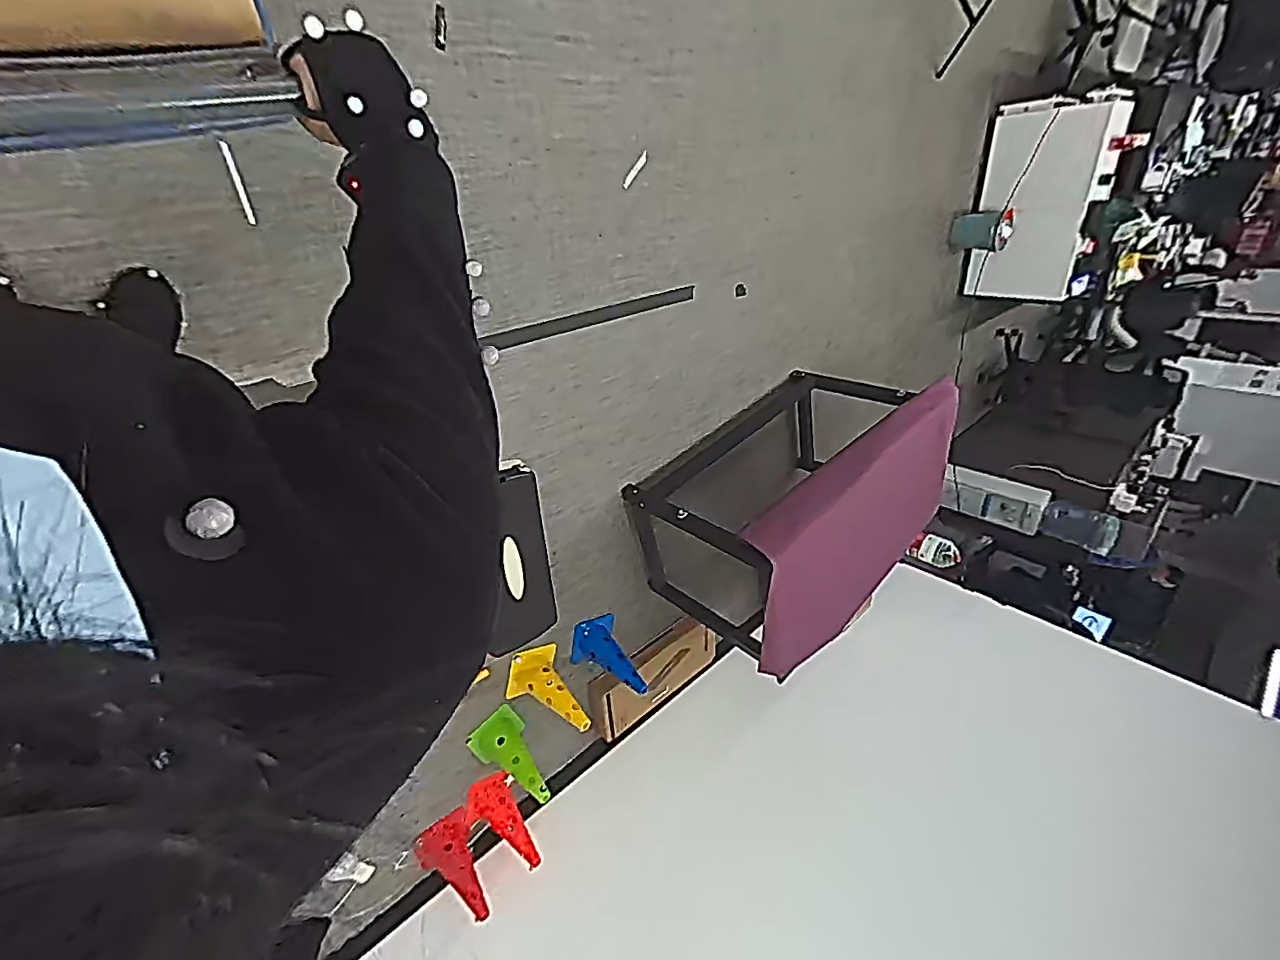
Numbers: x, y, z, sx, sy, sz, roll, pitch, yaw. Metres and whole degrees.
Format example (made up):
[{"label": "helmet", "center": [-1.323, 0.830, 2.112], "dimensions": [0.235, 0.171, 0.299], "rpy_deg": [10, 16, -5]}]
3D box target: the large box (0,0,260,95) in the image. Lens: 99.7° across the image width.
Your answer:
[{"label": "large box", "center": [-0.774, -0.675, 0.647], "dimensions": [0.408, 0.320, 0.320], "rpy_deg": [-31, 130, -31]}]
